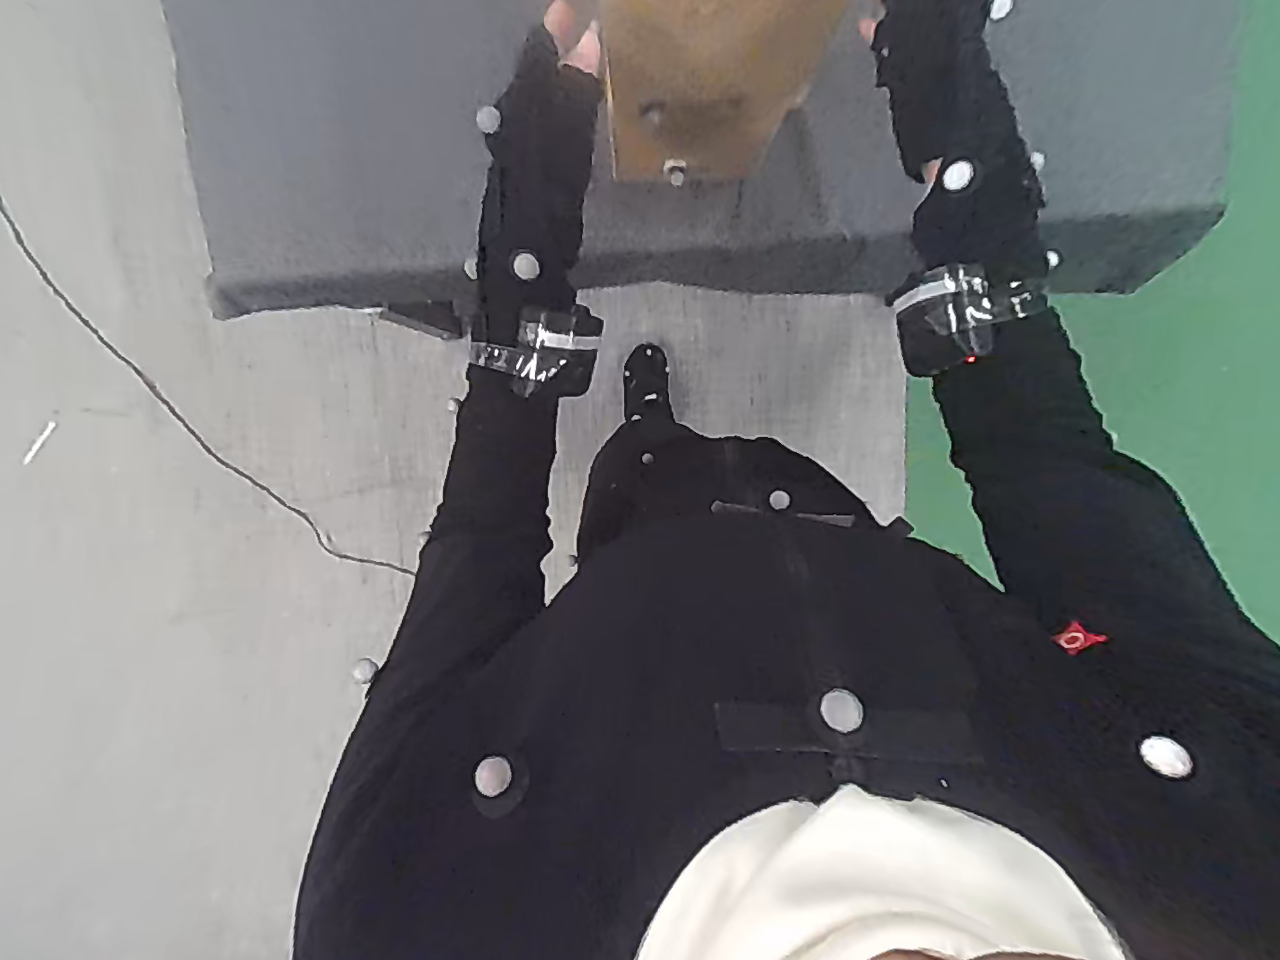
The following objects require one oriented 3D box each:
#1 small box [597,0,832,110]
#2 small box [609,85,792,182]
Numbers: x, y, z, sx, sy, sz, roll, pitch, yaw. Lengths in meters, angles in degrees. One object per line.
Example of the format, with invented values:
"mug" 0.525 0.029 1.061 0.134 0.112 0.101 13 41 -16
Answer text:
"small box" 0.047 -0.399 0.387 0.168 0.176 0.179 -6 96 1
"small box" 0.051 -0.431 0.549 0.168 0.176 0.179 -3 99 1
